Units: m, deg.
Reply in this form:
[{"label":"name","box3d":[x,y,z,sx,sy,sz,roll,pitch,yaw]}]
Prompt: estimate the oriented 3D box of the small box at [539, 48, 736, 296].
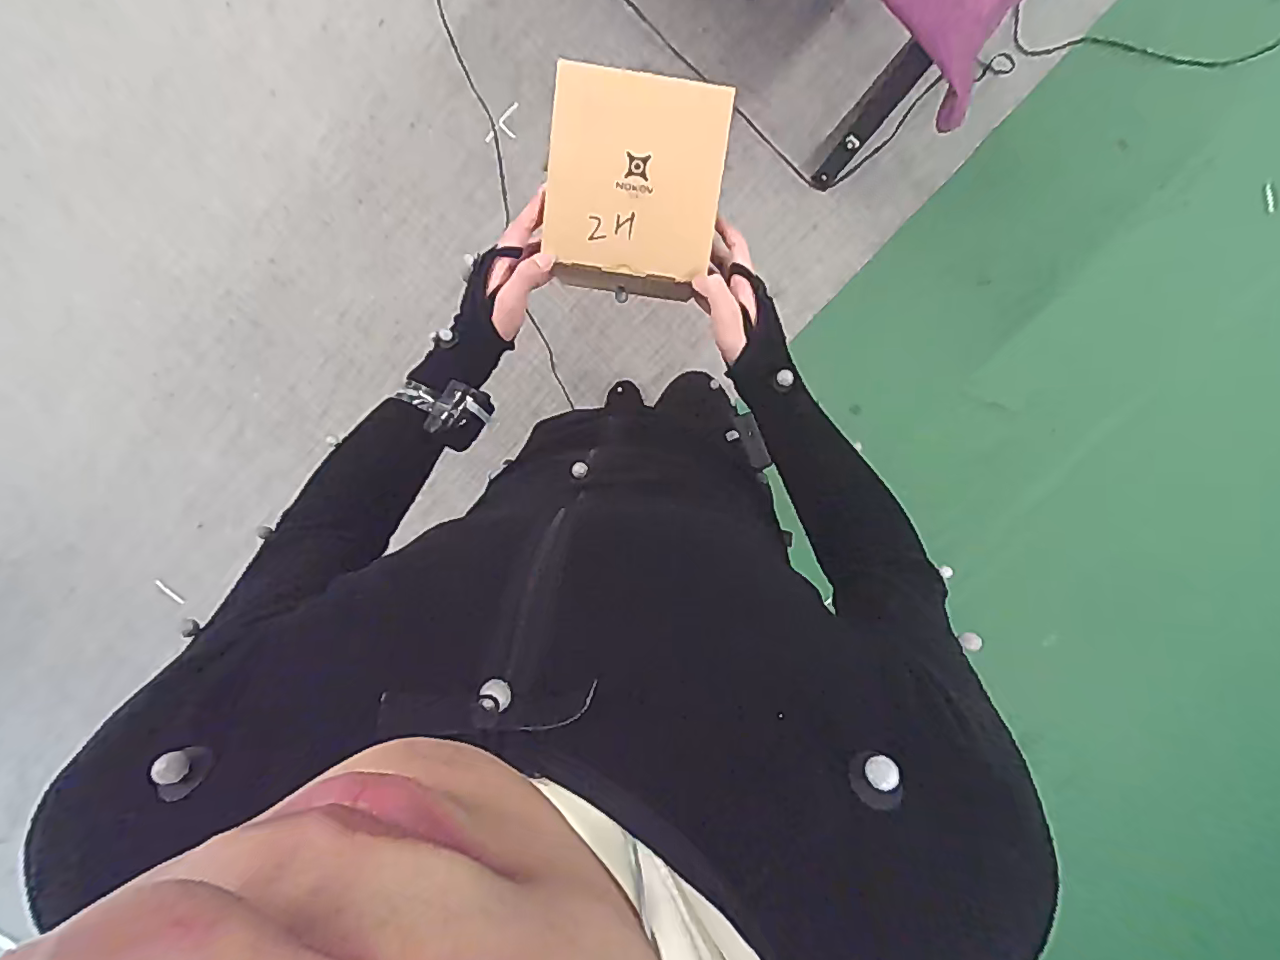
[{"label":"small box","box3d":[-0.007,-0.307,0.579,0.168,0.176,0.179,7,103,-3]}]
